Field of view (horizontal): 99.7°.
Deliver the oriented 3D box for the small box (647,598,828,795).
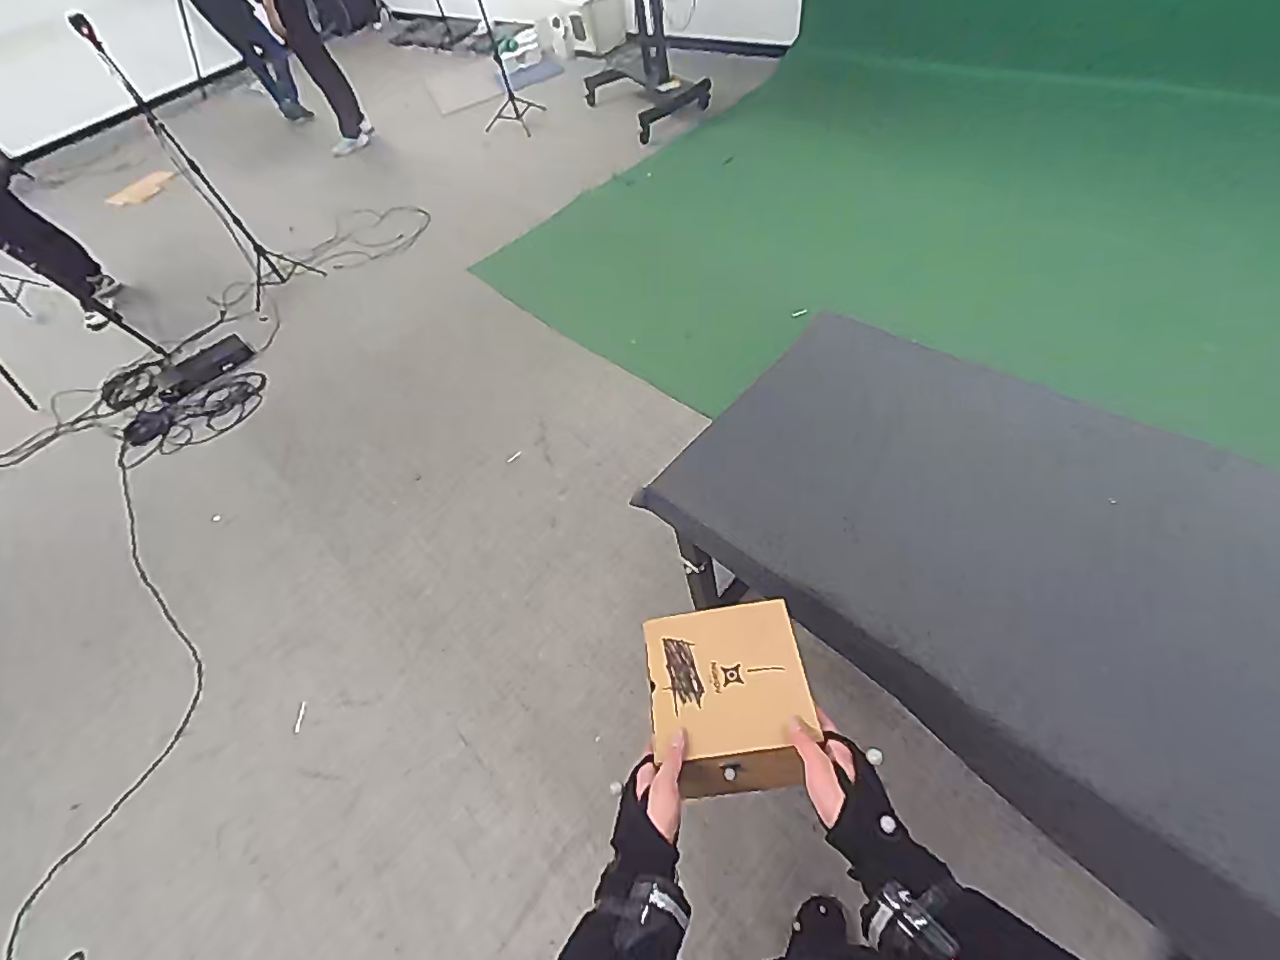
[{"bbox_3d":[0.113,0.266,0.655,0.179,0.176,0.168,-9,48,4],"label":"small box"}]
